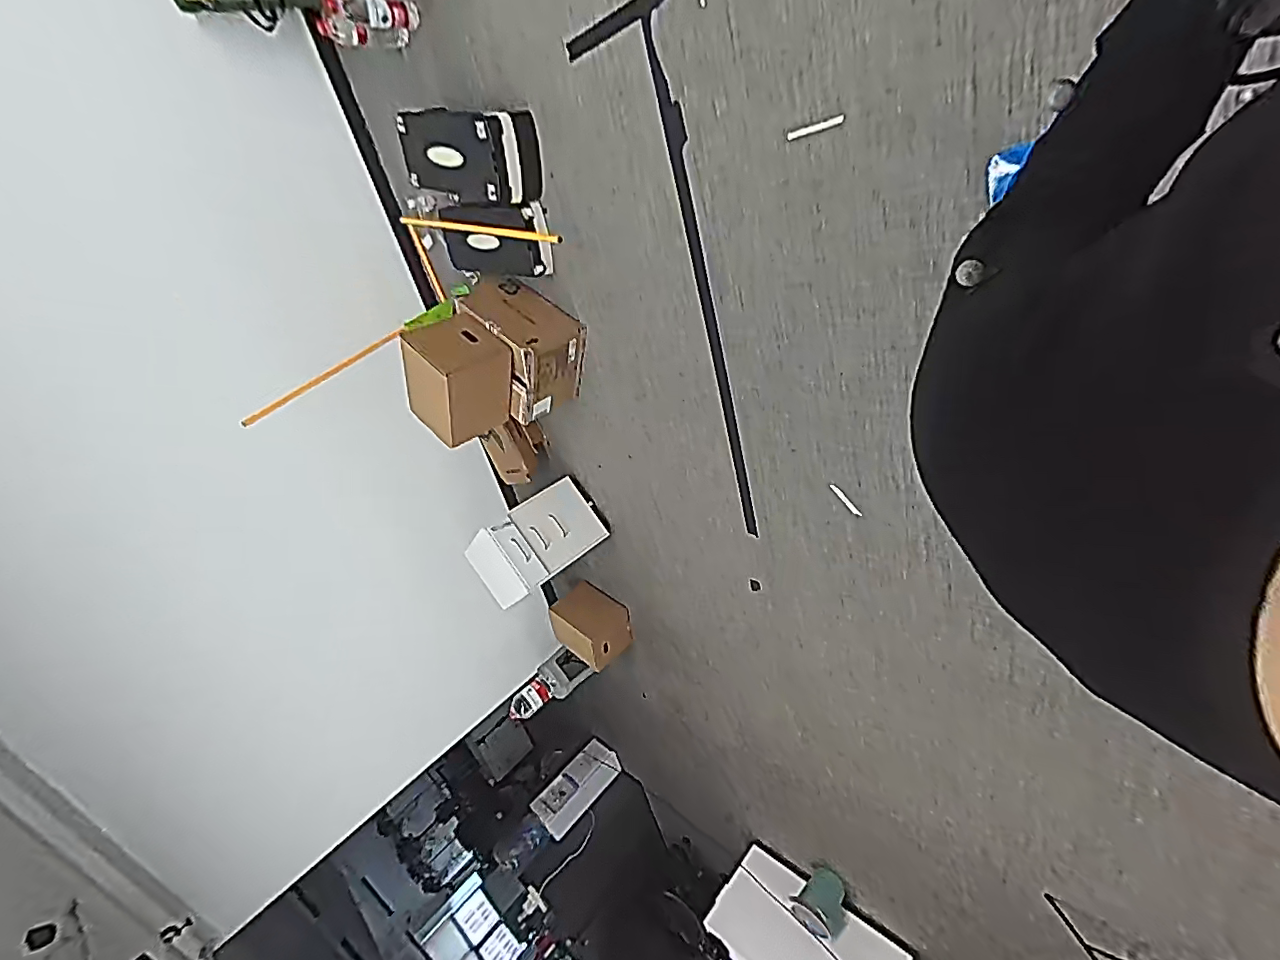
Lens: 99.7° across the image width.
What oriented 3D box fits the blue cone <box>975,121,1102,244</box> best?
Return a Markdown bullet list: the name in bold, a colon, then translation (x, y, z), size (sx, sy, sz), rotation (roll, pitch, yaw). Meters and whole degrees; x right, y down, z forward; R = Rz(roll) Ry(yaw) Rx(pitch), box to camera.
- **blue cone**: translation (0.704, -0.514, 1.006), size (0.193, 0.380, 0.192), rotation (6, 123, 48)
